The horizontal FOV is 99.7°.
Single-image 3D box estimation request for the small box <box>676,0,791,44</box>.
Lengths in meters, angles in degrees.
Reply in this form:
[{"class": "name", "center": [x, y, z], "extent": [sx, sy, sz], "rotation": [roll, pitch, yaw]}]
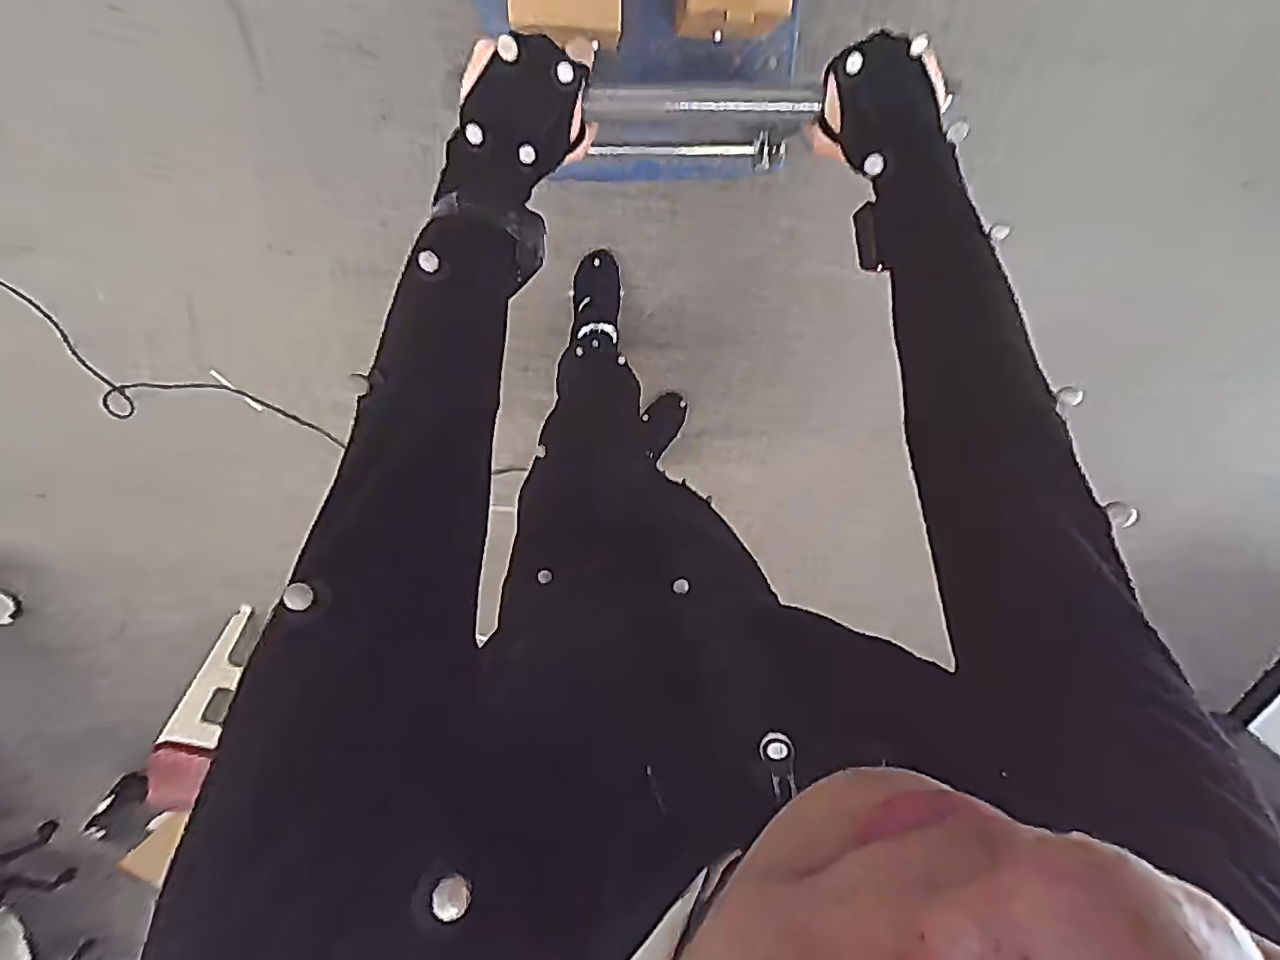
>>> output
[{"class": "small box", "center": [0.154, -0.853, 0.895], "extent": [0.168, 0.176, 0.179], "rotation": [-2, 120, -4]}]
